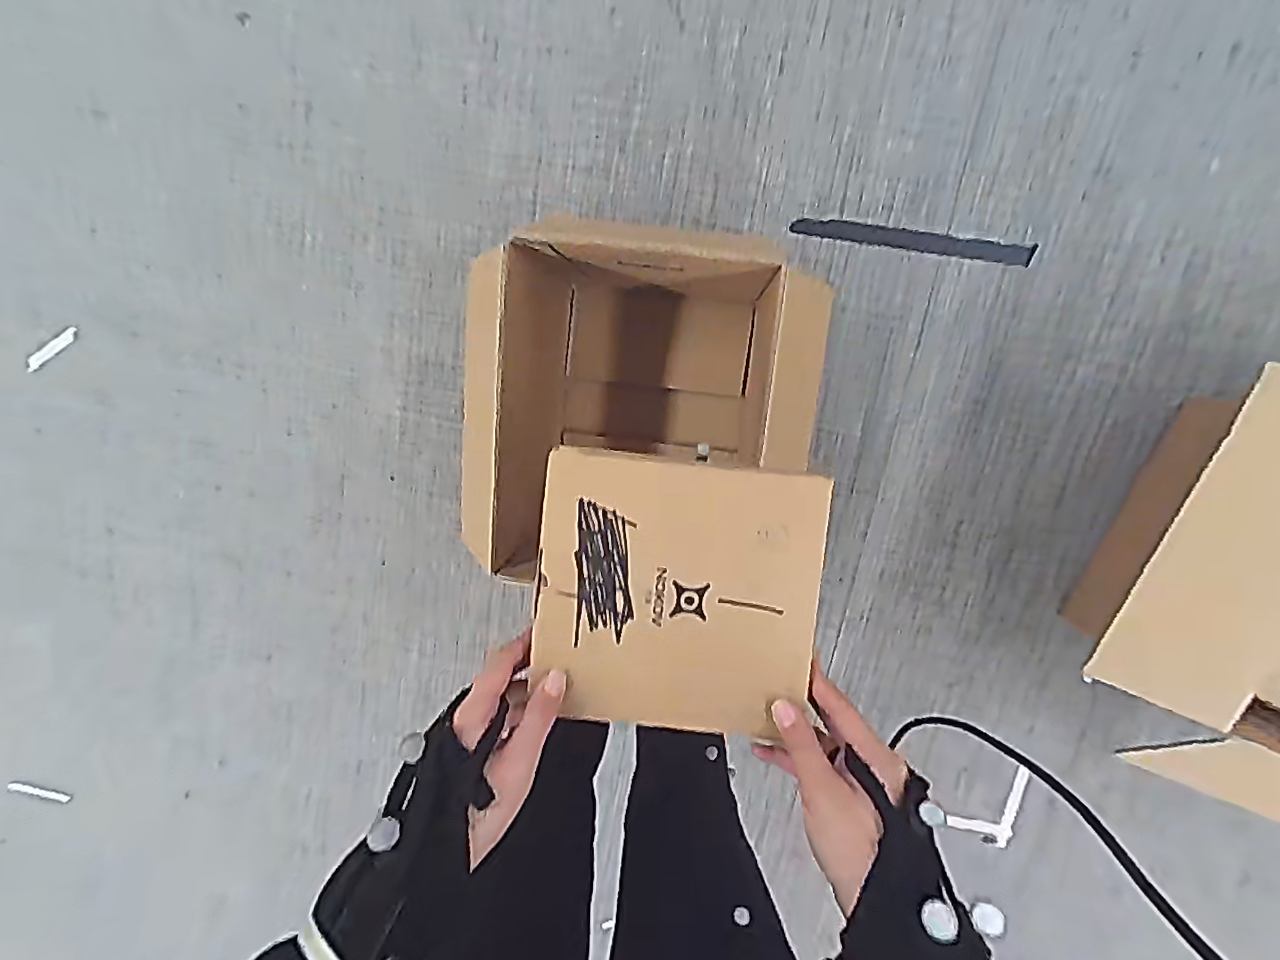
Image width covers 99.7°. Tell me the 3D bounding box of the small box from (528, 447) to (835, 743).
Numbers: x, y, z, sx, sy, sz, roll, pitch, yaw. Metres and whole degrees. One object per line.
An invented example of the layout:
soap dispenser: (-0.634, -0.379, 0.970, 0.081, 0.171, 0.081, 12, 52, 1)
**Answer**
small box: (0.030, 0.067, 0.411, 0.179, 0.176, 0.168, 6, 93, 5)
